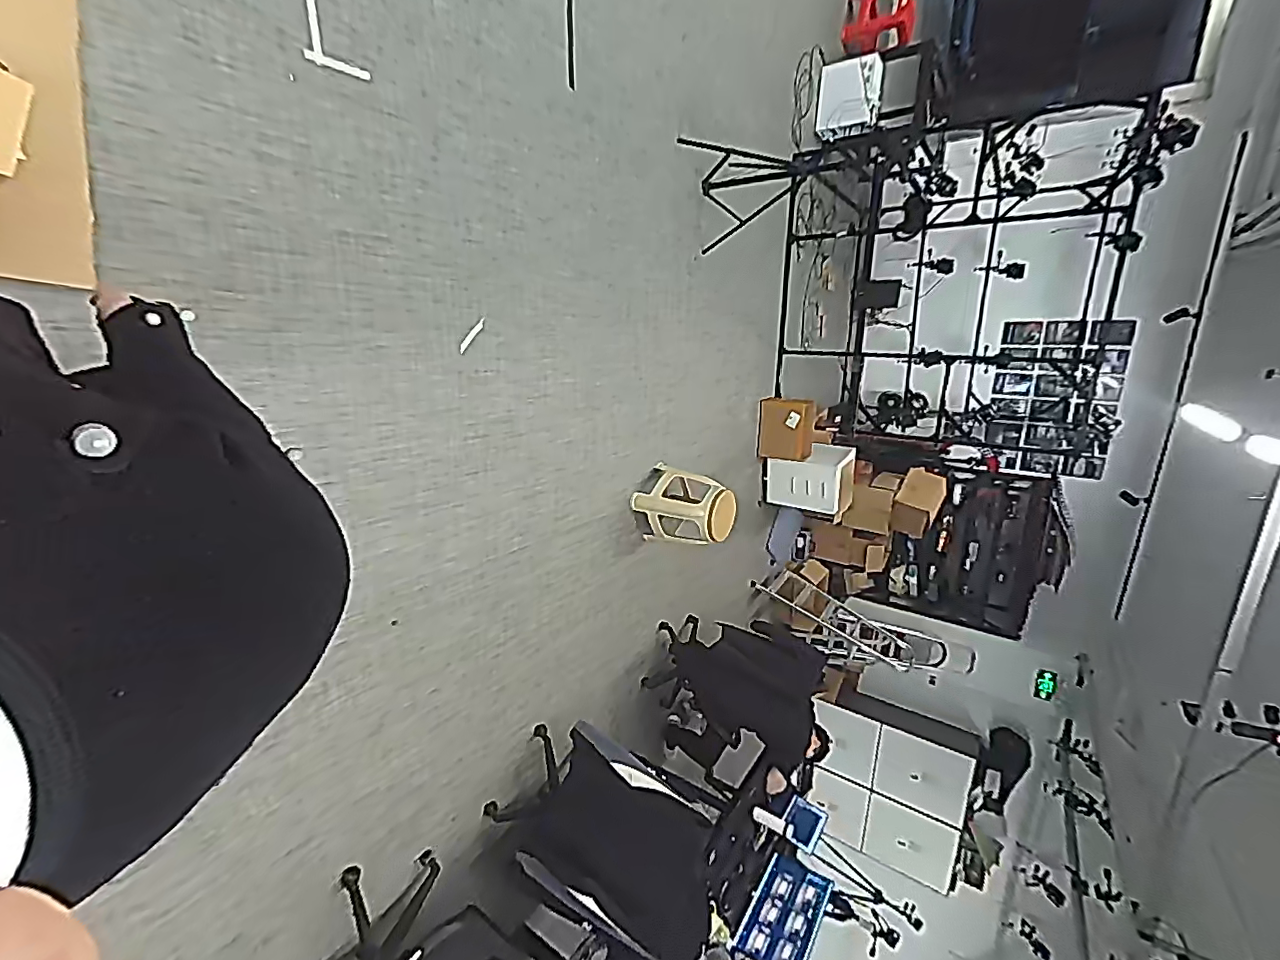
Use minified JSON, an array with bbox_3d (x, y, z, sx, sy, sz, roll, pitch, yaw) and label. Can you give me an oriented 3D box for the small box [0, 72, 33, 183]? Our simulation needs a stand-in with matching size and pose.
[{"bbox_3d":[-1.164,-0.615,0.893,0.179,0.176,0.168,13,88,-56],"label":"small box"}]
